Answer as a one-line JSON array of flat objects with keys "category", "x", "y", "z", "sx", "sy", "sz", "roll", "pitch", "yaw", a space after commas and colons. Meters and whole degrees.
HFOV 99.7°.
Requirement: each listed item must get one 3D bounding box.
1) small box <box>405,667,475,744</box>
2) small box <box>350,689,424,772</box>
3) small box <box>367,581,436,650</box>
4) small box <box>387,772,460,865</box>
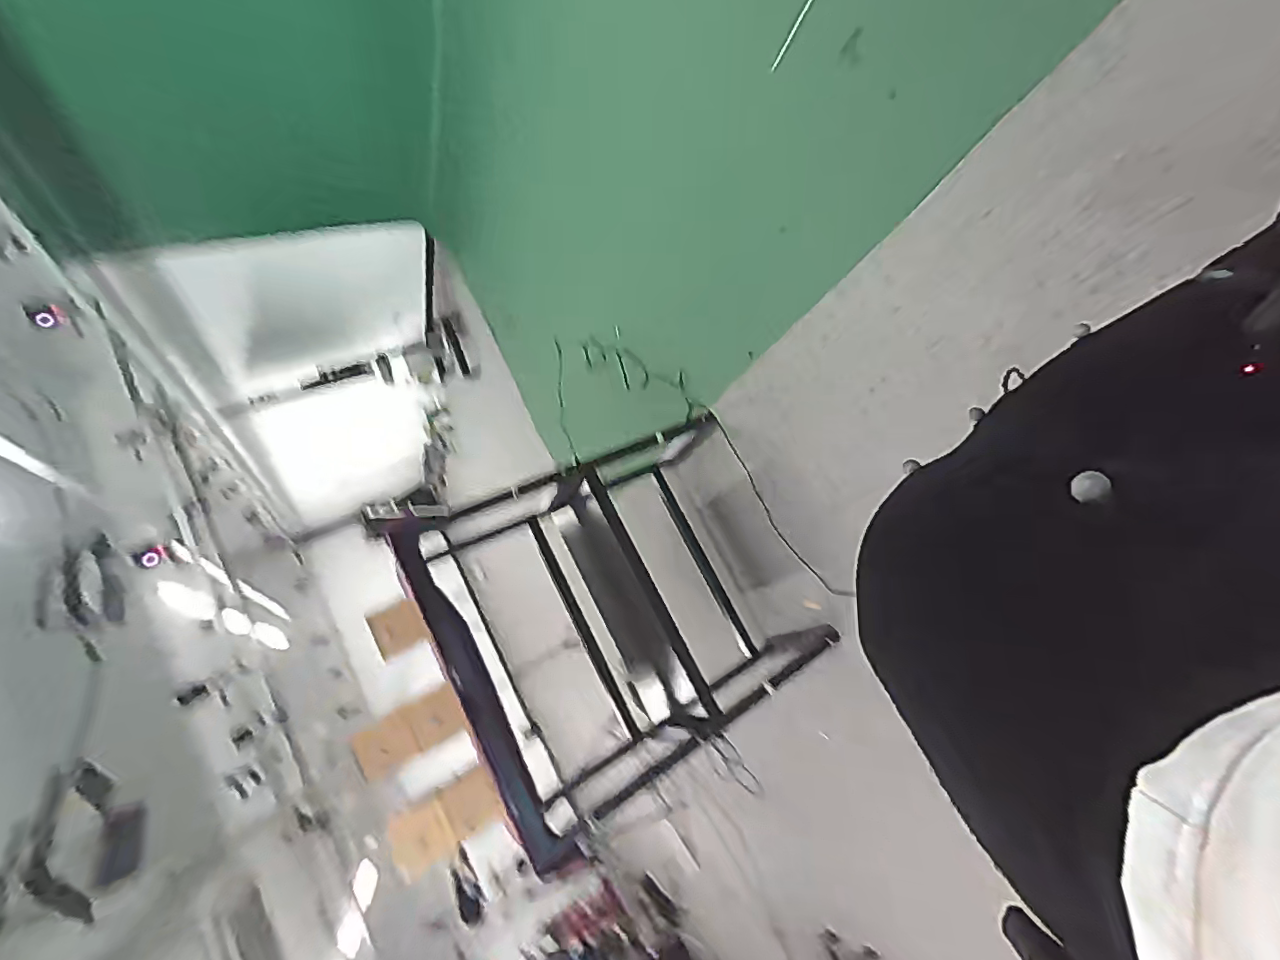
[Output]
[{"category": "small box", "x": -0.678, "y": 0.754, "z": 1.831, "sx": 0.179, "sy": 0.176, "sz": 0.168, "roll": 64, "pitch": 153, "yaw": 5}, {"category": "small box", "x": -0.817, "y": 0.809, "z": 1.764, "sx": 0.179, "sy": 0.176, "sz": 0.168, "roll": 63, "pitch": 153, "yaw": 7}, {"category": "small box", "x": -0.830, "y": 0.474, "z": 1.892, "sx": 0.179, "sy": 0.176, "sz": 0.168, "roll": 64, "pitch": 153, "yaw": 4}, {"category": "small box", "x": -0.688, "y": 1.069, "z": 1.726, "sx": 0.168, "sy": 0.176, "sz": 0.179, "roll": 64, "pitch": 155, "yaw": 6}]
